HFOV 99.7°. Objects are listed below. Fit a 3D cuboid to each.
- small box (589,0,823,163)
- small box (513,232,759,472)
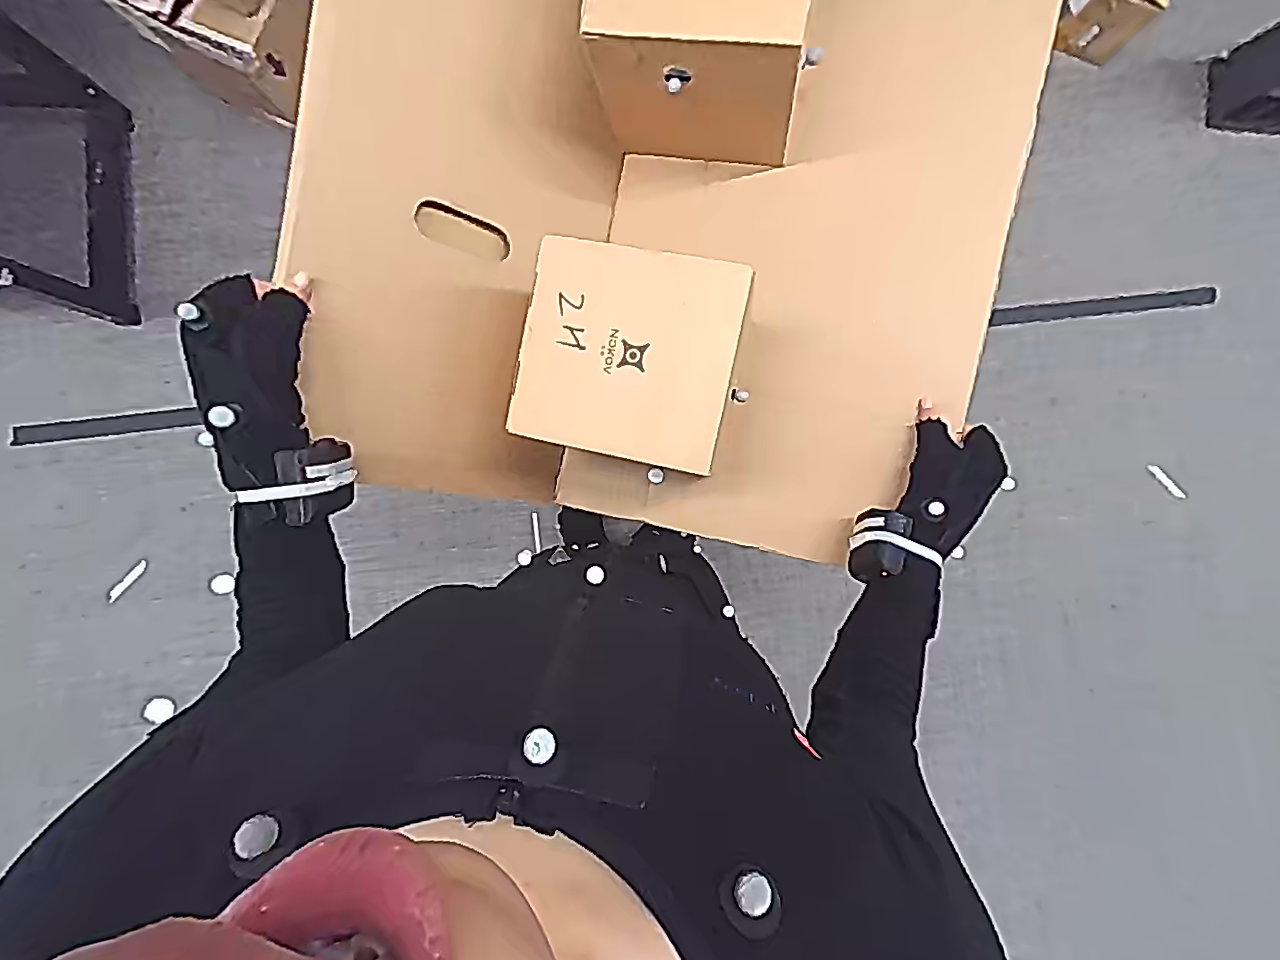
[{"bbox_3d":[0.071,-0.421,0.496,0.179,0.176,0.168,12,94,9],"label":"small box"},{"bbox_3d":[0.006,-0.109,0.518,0.179,0.176,0.168,14,94,10],"label":"small box"}]
